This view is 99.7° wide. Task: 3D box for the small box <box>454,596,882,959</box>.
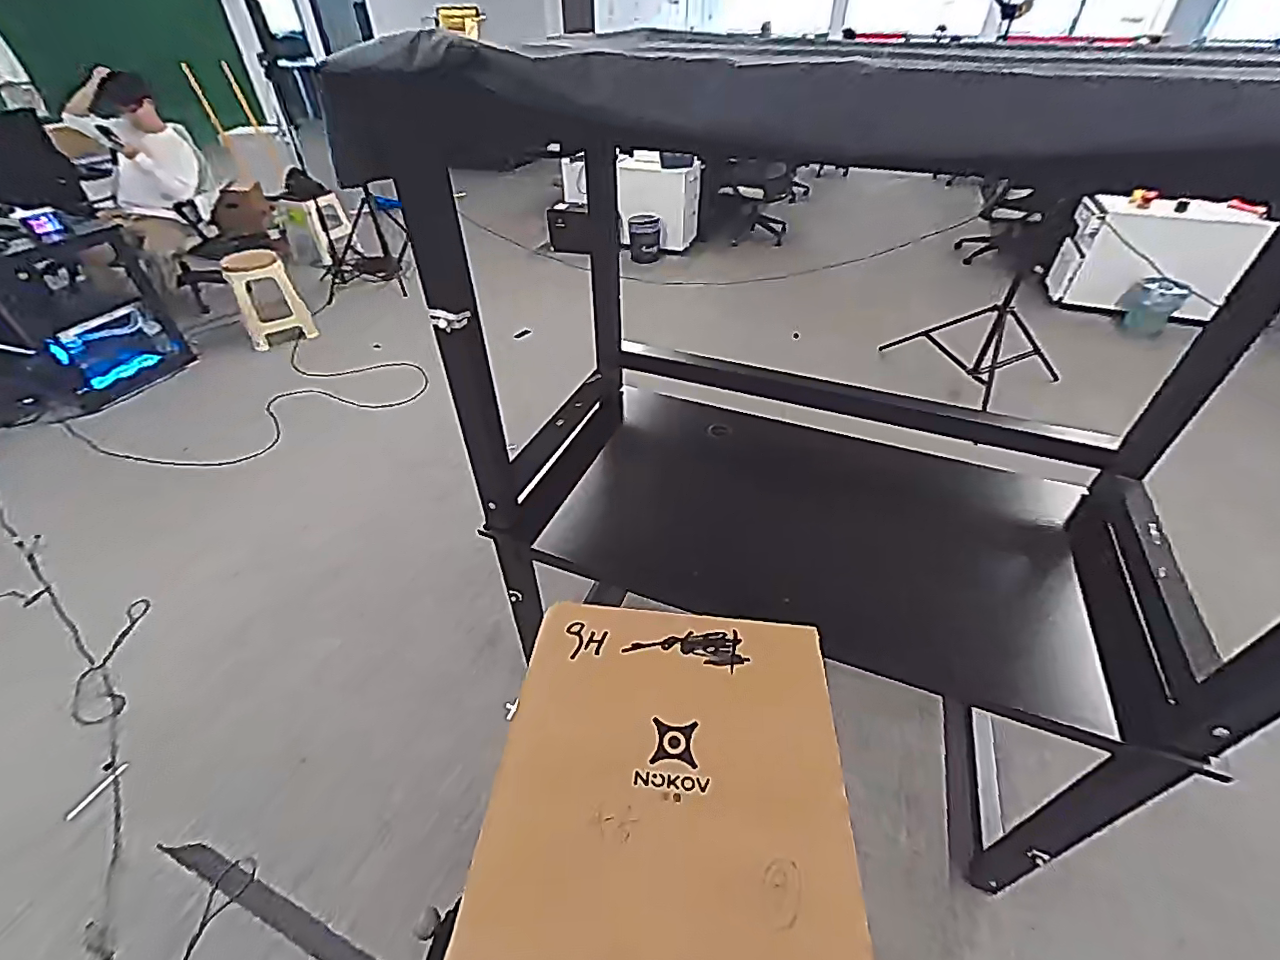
[{"bbox_3d":[0.017,0.194,0.311,0.168,0.176,0.179,5,41,3],"label":"small box"}]
